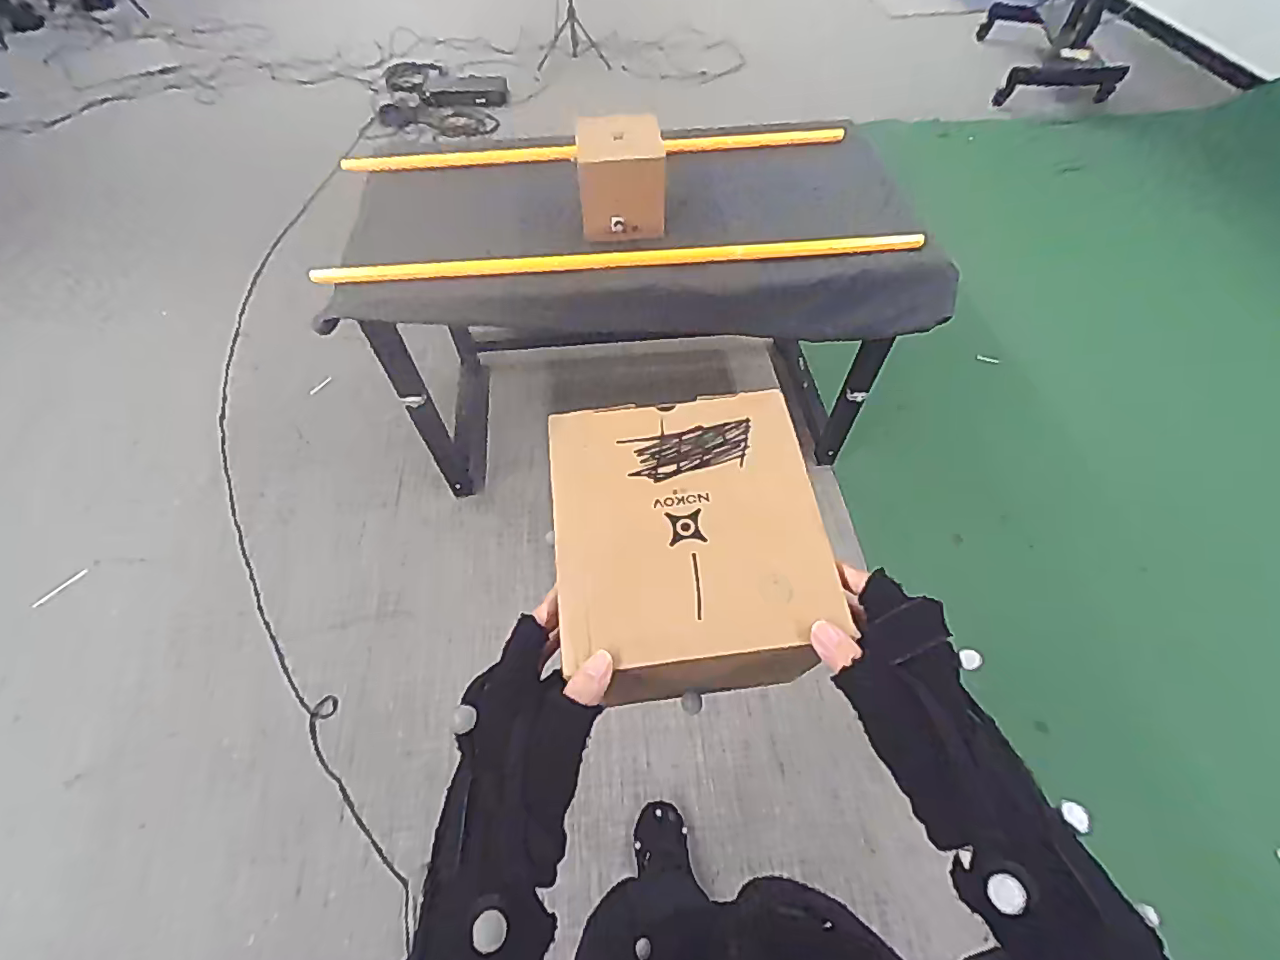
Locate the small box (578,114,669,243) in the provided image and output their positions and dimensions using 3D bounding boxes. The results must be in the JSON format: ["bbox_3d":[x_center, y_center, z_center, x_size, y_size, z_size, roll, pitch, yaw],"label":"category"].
[{"bbox_3d":[-0.036,-0.615,1.109,0.168,0.176,0.179,-6,58,-2],"label":"small box"}]

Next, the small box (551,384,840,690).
[{"bbox_3d":[0.027,0.052,0.414,0.168,0.176,0.179,-6,63,-1],"label":"small box"}]
